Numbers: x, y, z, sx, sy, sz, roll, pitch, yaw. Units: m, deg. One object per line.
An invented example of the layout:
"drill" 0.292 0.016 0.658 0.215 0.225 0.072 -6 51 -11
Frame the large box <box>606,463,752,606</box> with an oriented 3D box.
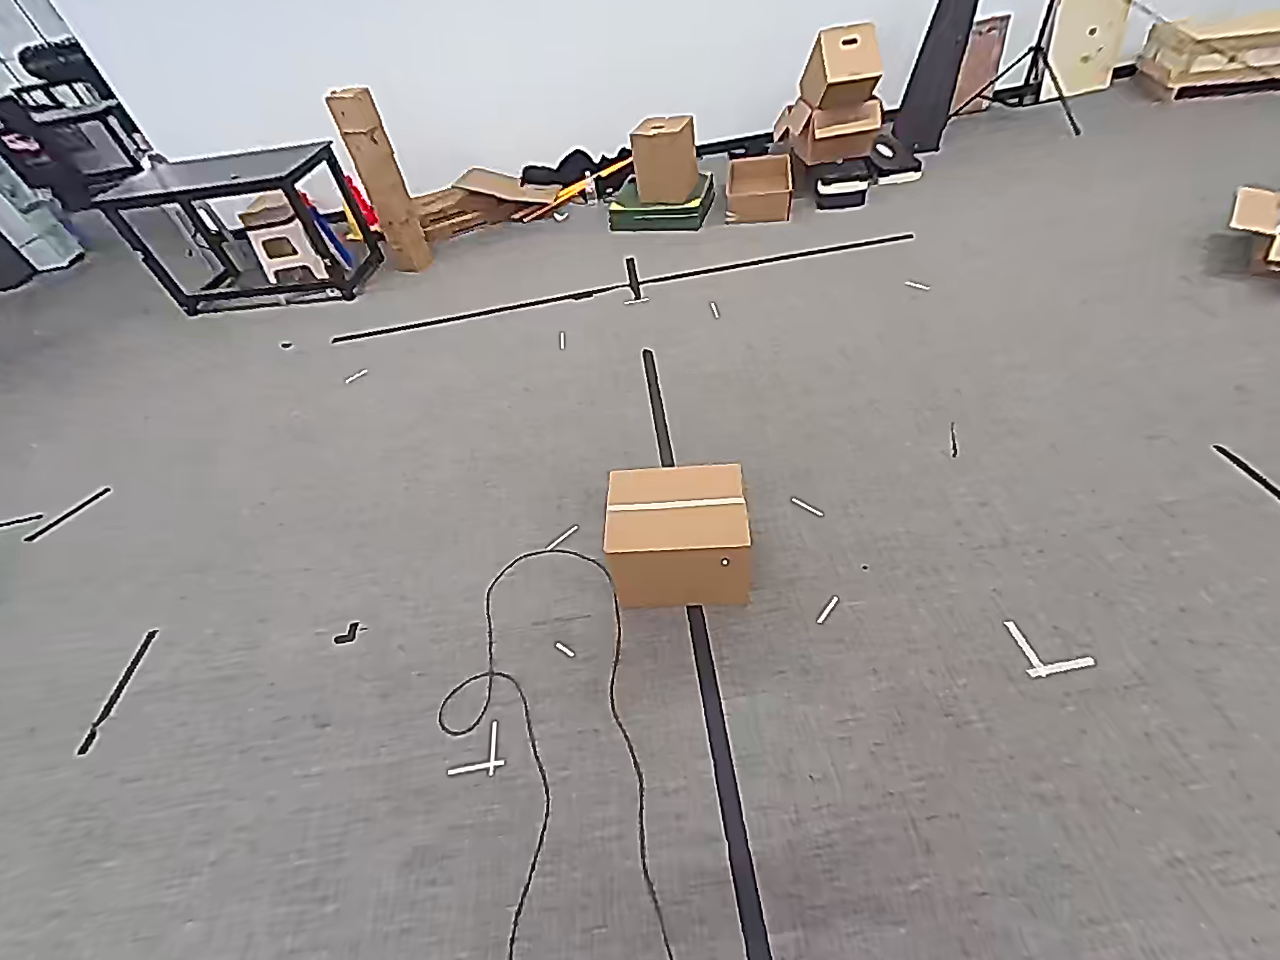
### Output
"large box" 0.123 0.174 1.673 0.408 0.320 0.320 -3 47 6
